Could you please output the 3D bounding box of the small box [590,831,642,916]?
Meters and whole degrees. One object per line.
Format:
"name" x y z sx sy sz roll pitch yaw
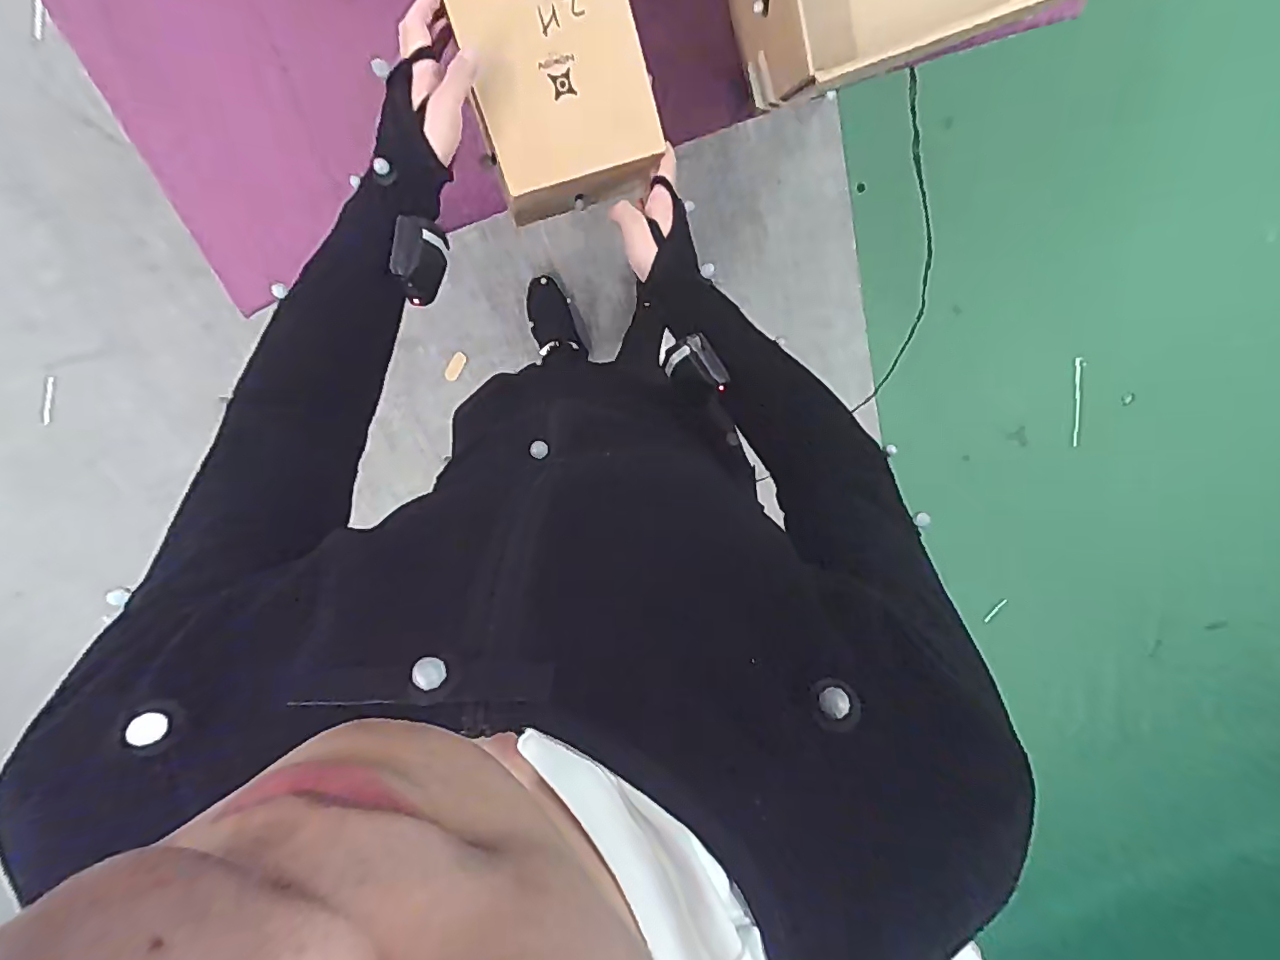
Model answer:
"small box" -0.085 1.345 1.851 0.168 0.176 0.179 0 111 -6
